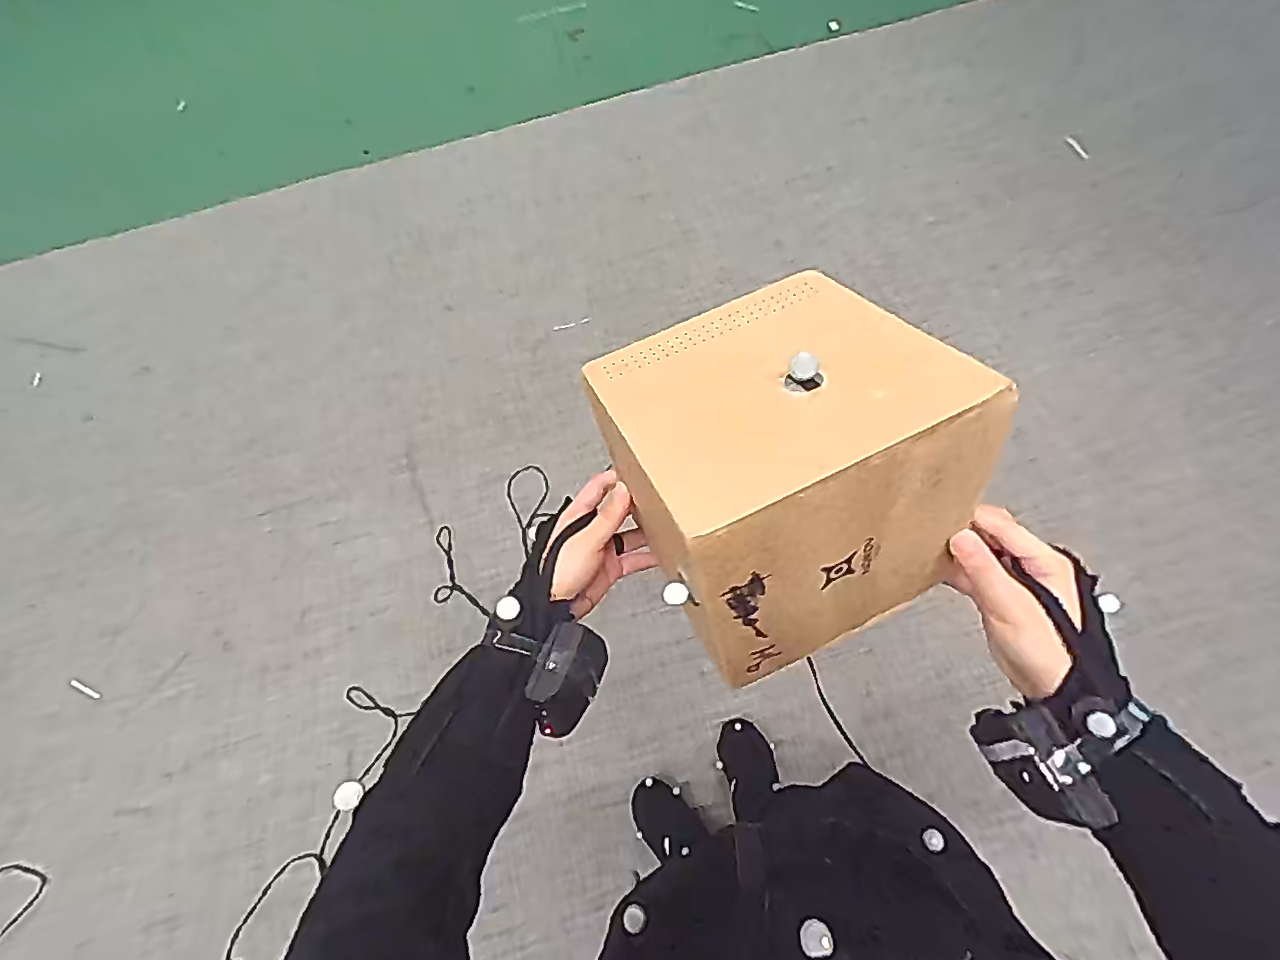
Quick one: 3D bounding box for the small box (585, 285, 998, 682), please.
[{"bbox_3d":[0.086,-0.006,0.367,0.179,0.168,0.176,-26,45,-8],"label":"small box"}]
